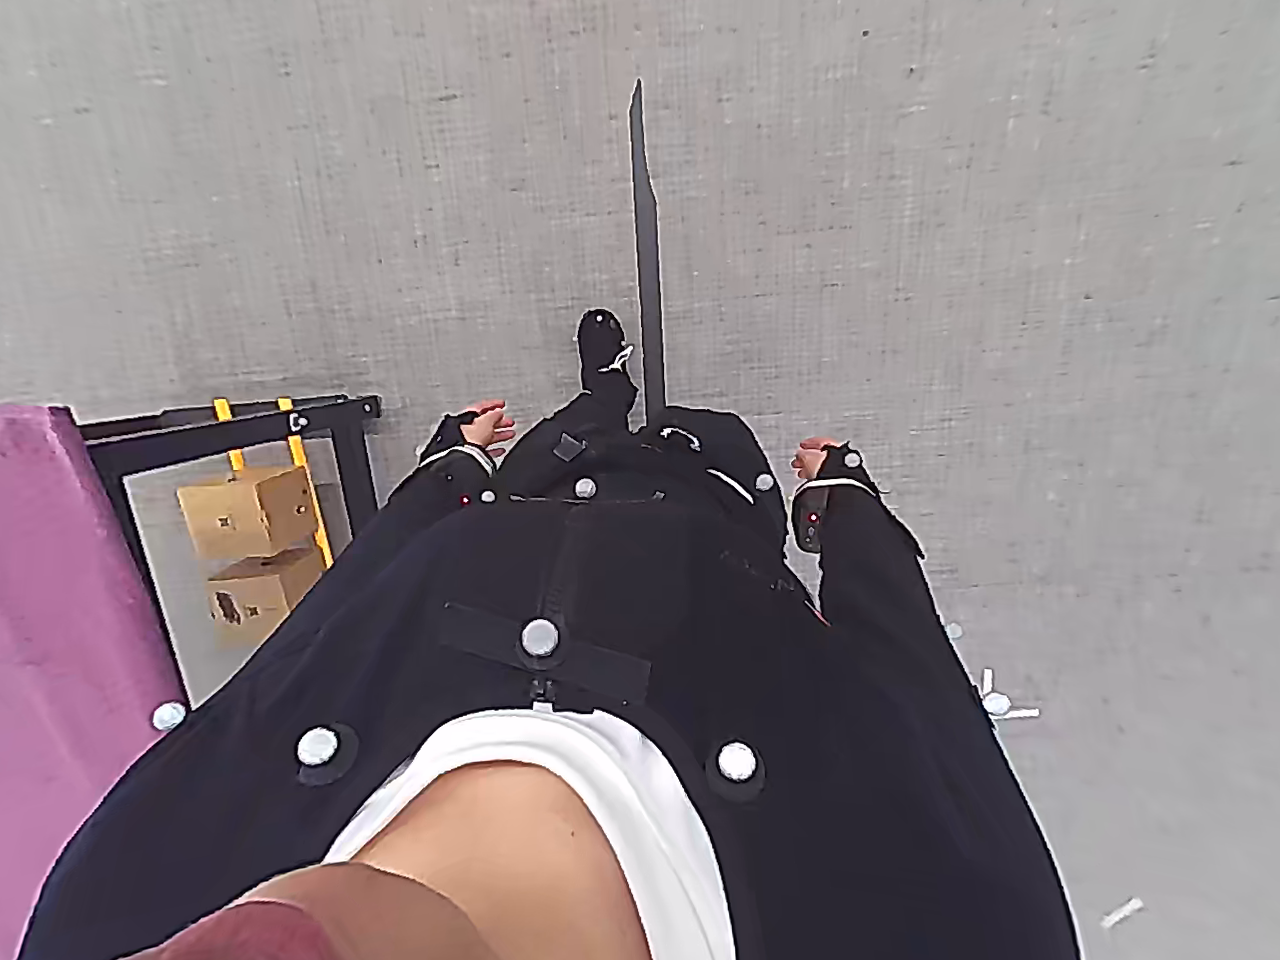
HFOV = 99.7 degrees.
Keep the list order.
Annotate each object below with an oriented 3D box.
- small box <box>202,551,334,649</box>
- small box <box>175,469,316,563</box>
[{"bbox_3d":[-0.864,0.277,1.272,0.179,0.176,0.168,-5,104,1],"label":"small box"},{"bbox_3d":[-0.879,0.077,1.222,0.179,0.176,0.168,-5,104,2],"label":"small box"}]
